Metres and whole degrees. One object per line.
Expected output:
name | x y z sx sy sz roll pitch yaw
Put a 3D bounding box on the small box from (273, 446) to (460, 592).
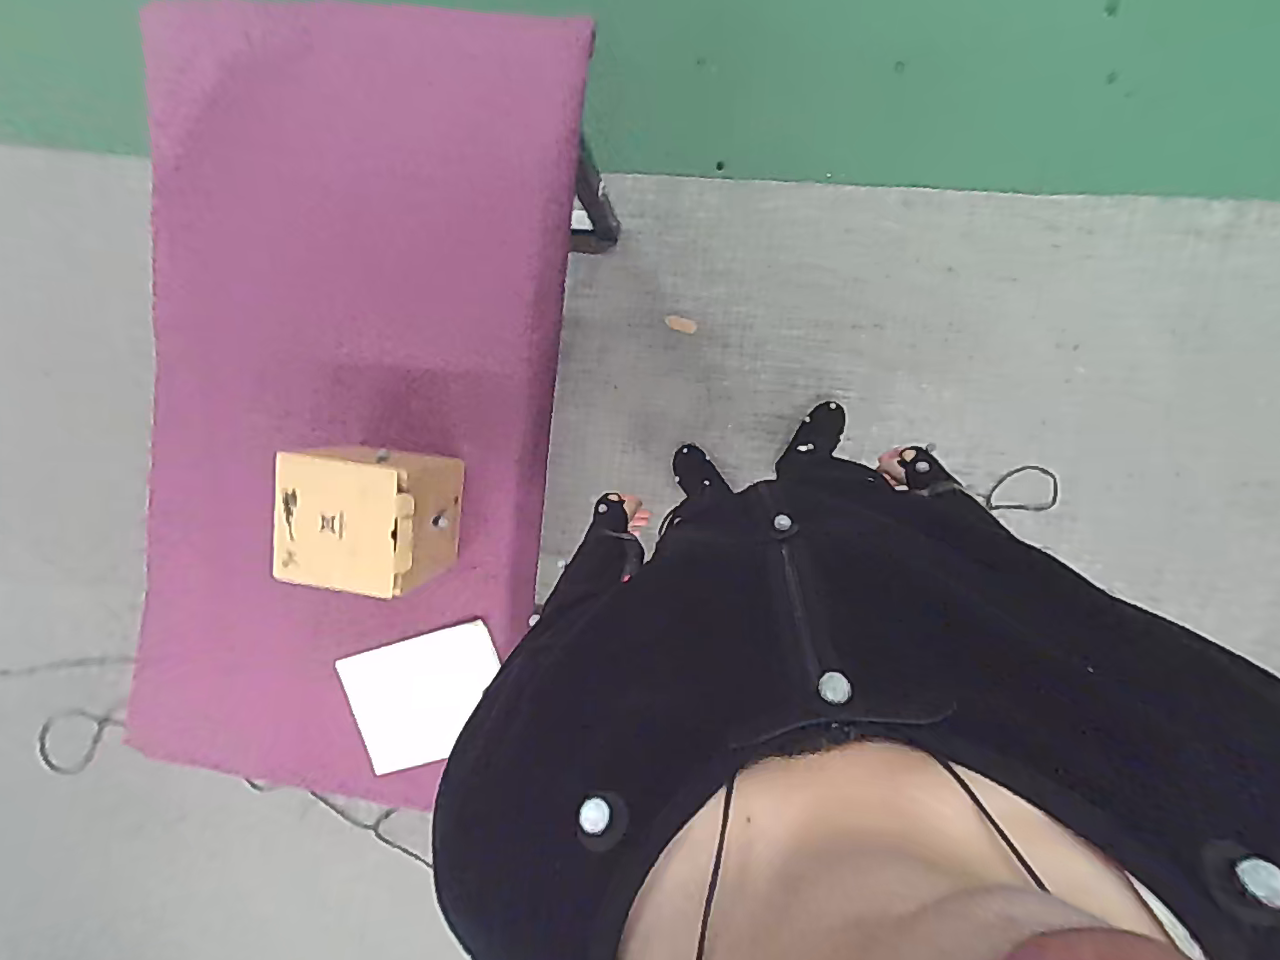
small box | -0.371 0.044 0.760 0.179 0.176 0.168 7 96 5
